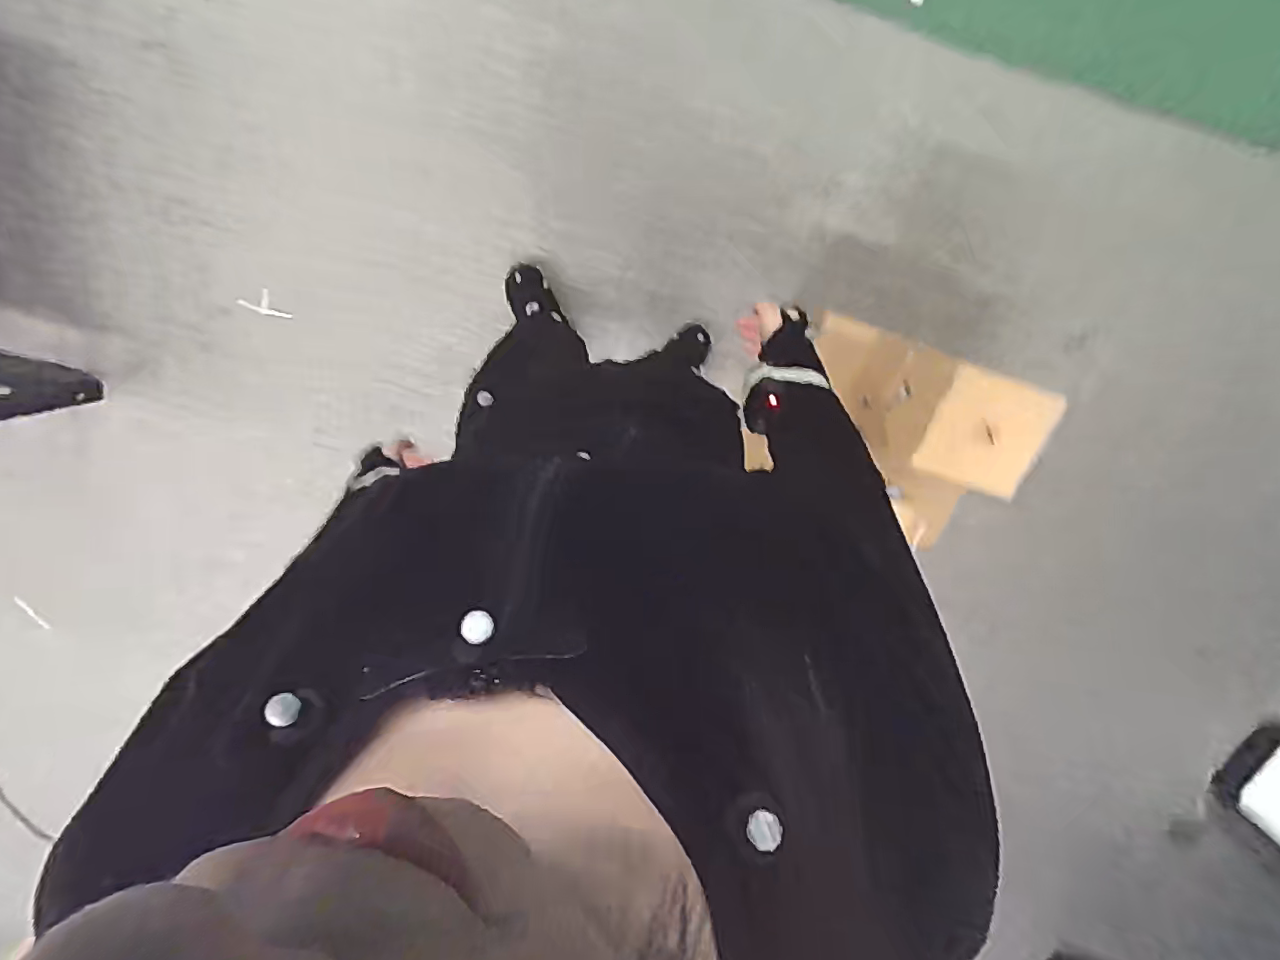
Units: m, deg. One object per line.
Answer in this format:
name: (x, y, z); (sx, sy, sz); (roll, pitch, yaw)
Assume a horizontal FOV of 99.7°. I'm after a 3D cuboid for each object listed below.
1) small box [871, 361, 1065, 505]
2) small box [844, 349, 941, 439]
small box: (0.519, -0.085, 0.884); (0.179, 0.176, 0.168); (19, 109, -5)
small box: (0.522, -0.143, 1.036); (0.179, 0.176, 0.168); (20, 109, -6)
